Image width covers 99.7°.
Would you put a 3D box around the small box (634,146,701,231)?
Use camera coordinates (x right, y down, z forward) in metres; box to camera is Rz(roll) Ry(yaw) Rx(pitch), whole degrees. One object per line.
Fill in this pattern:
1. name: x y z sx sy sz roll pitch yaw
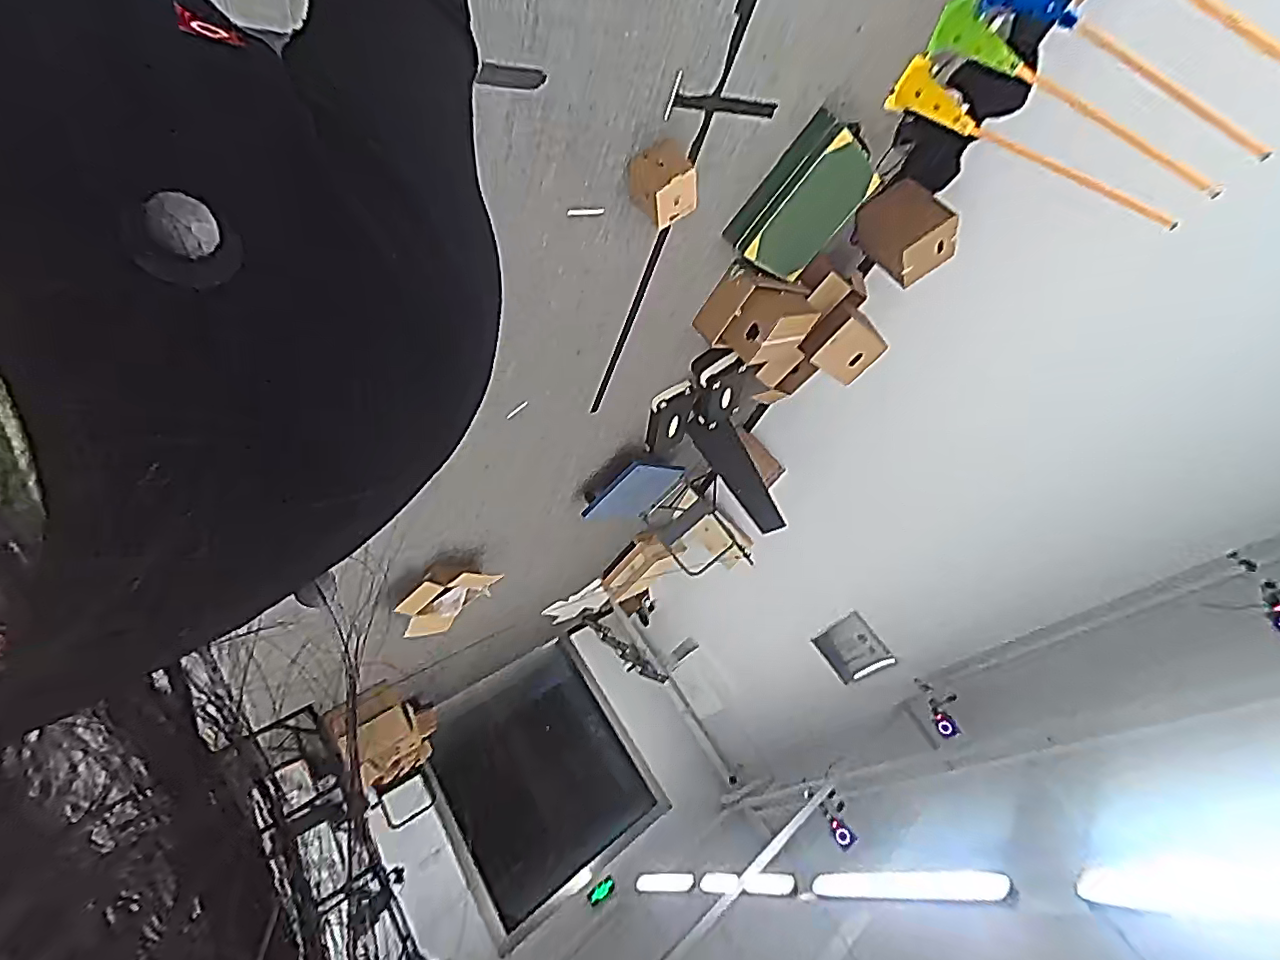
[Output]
1. small box: 0.096 -1.021 1.880 0.168 0.176 0.179 -35 161 -3
